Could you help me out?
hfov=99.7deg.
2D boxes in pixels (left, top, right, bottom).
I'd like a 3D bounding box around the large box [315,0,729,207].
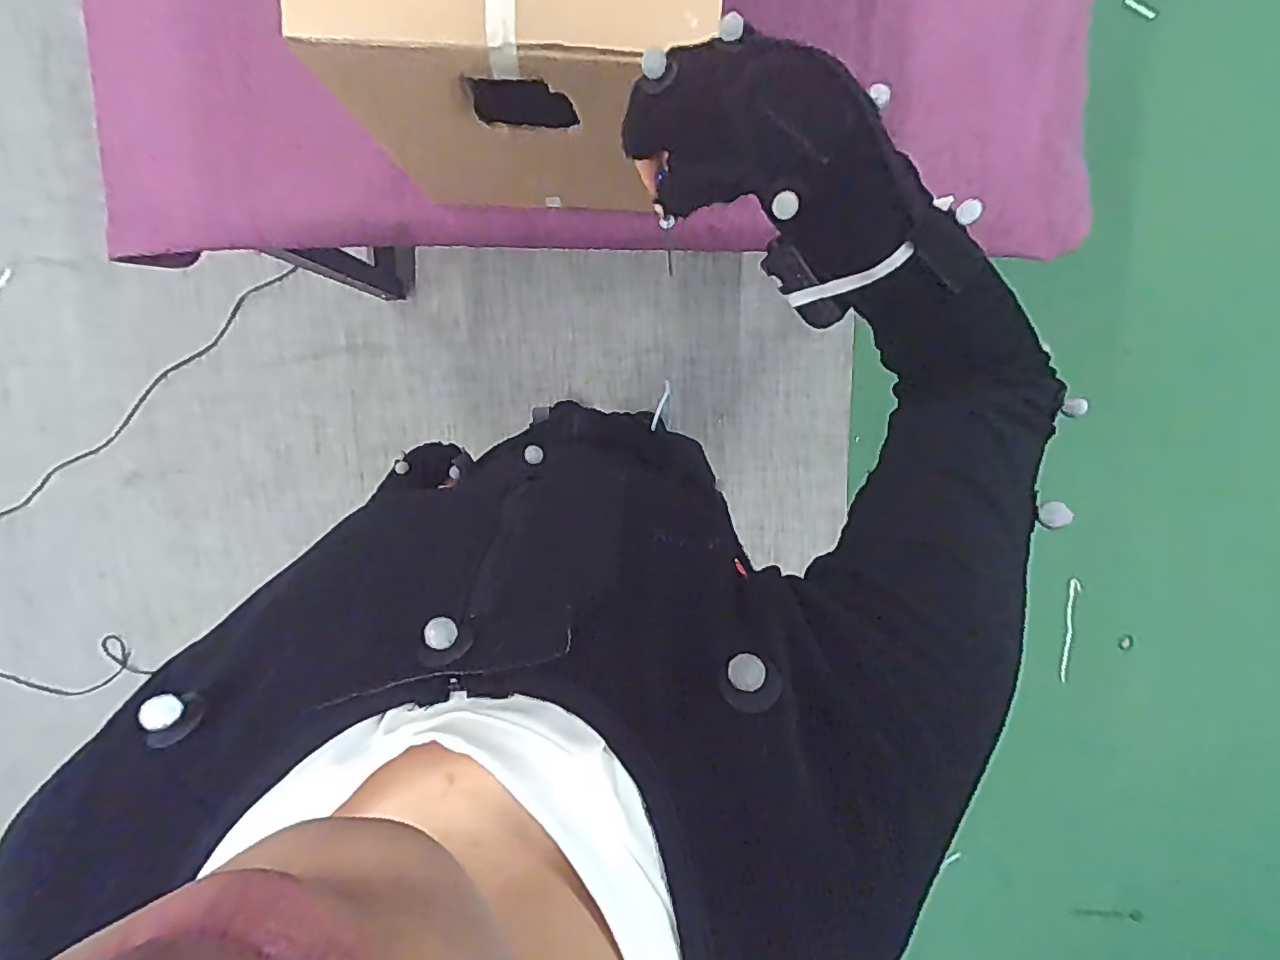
[{"bbox_3d":[-0.088,-0.535,0.524,0.320,0.320,0.408,3,99,-2],"label":"large box"}]
